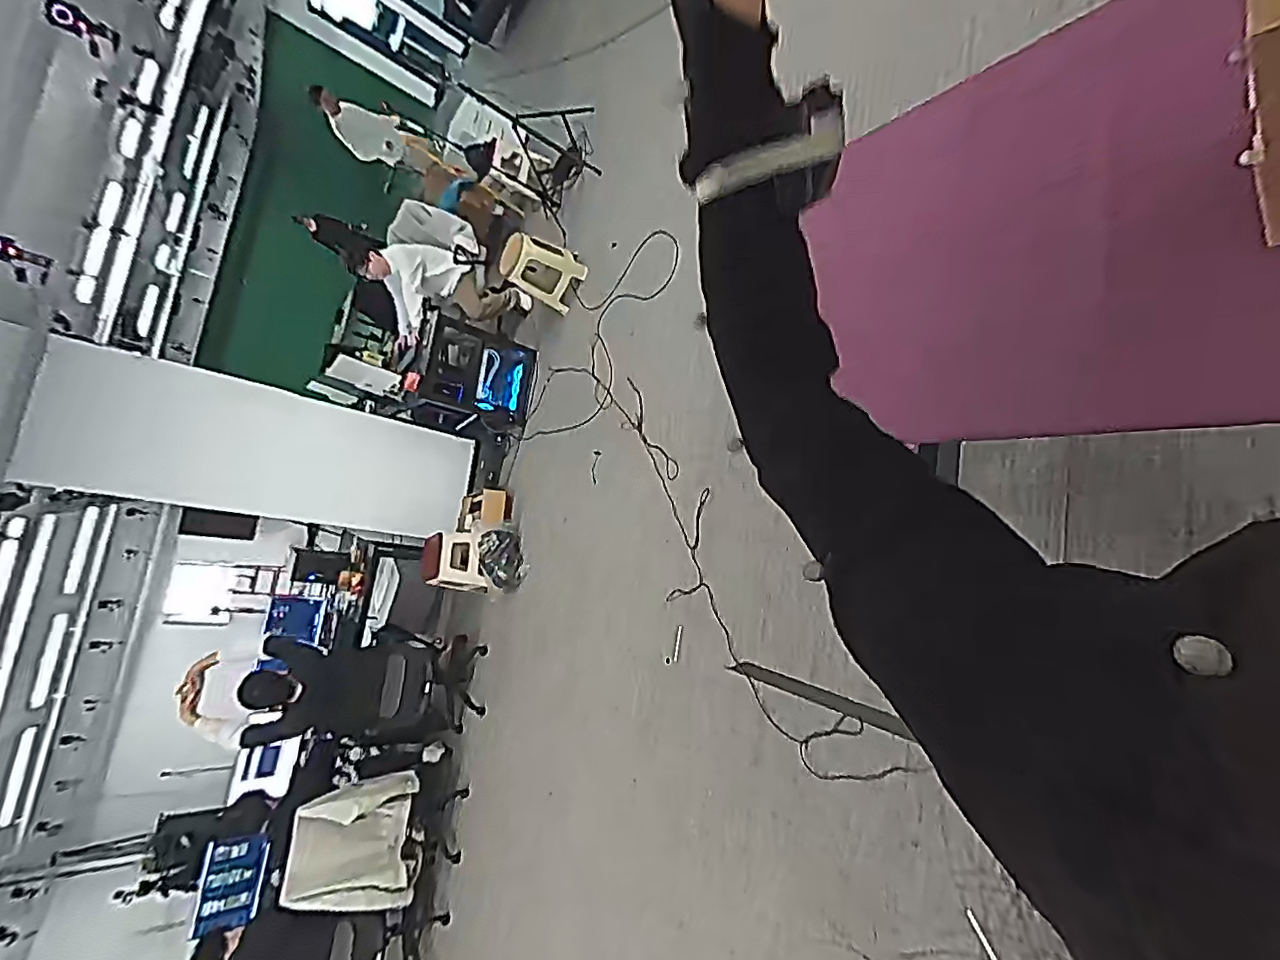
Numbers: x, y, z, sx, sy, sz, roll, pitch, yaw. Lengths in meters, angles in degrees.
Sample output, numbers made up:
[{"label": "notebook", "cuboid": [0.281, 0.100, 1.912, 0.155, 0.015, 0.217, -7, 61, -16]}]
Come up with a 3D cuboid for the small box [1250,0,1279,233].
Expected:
[{"label": "small box", "cuboid": [0.680, -0.357, 0.479, 0.179, 0.176, 0.168, -2, 76, 53]}]
